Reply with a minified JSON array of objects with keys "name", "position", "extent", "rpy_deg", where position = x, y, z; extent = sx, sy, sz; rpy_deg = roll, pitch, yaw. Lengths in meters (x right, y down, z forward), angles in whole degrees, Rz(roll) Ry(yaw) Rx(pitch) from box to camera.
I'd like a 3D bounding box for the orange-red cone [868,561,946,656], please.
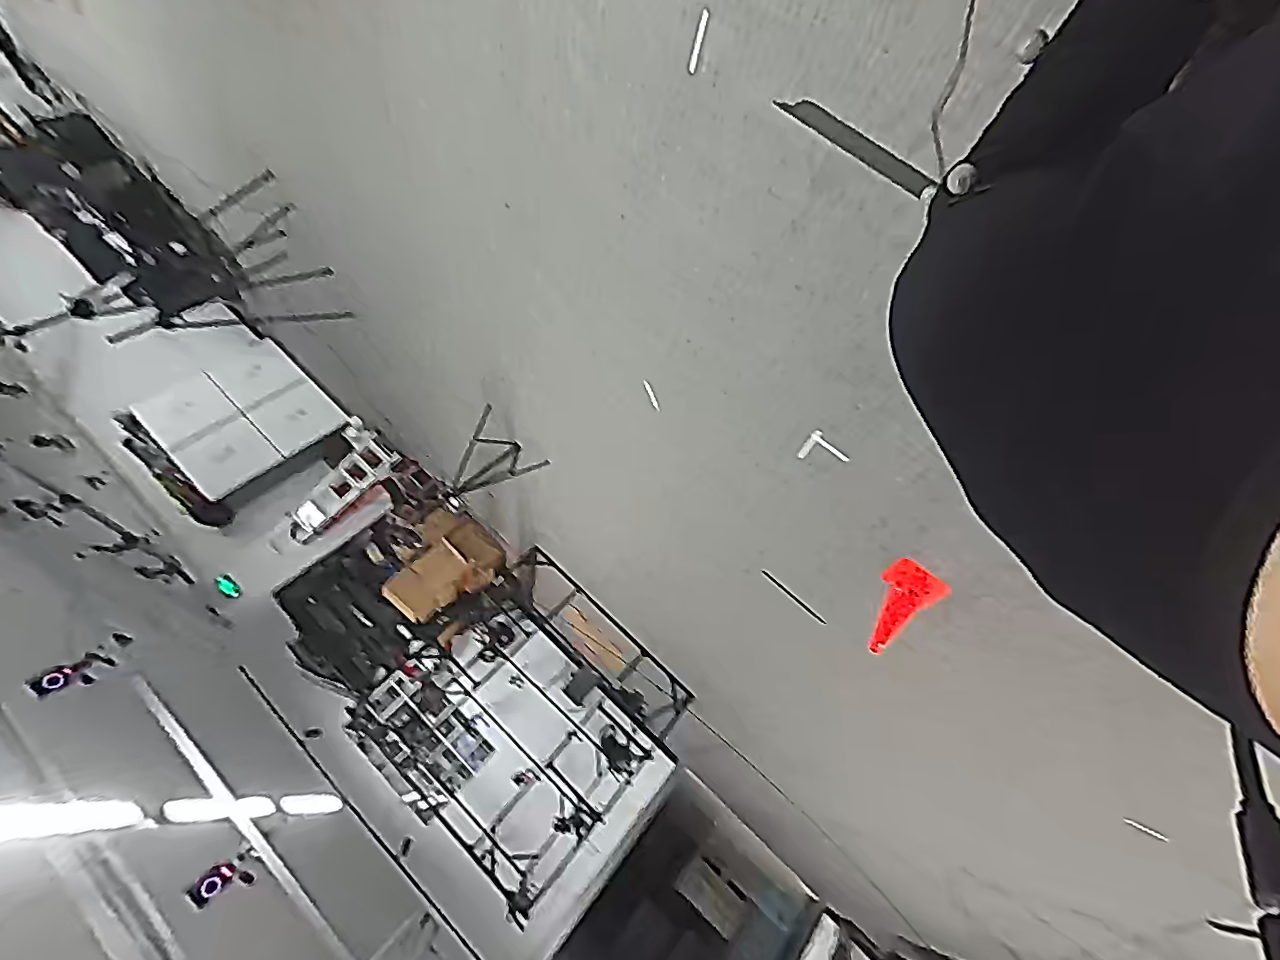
[{"name":"orange-red cone","position":[0.944,0.510,2.010],"extent":[0.199,0.360,0.198],"rpy_deg":[38,151,15]}]
